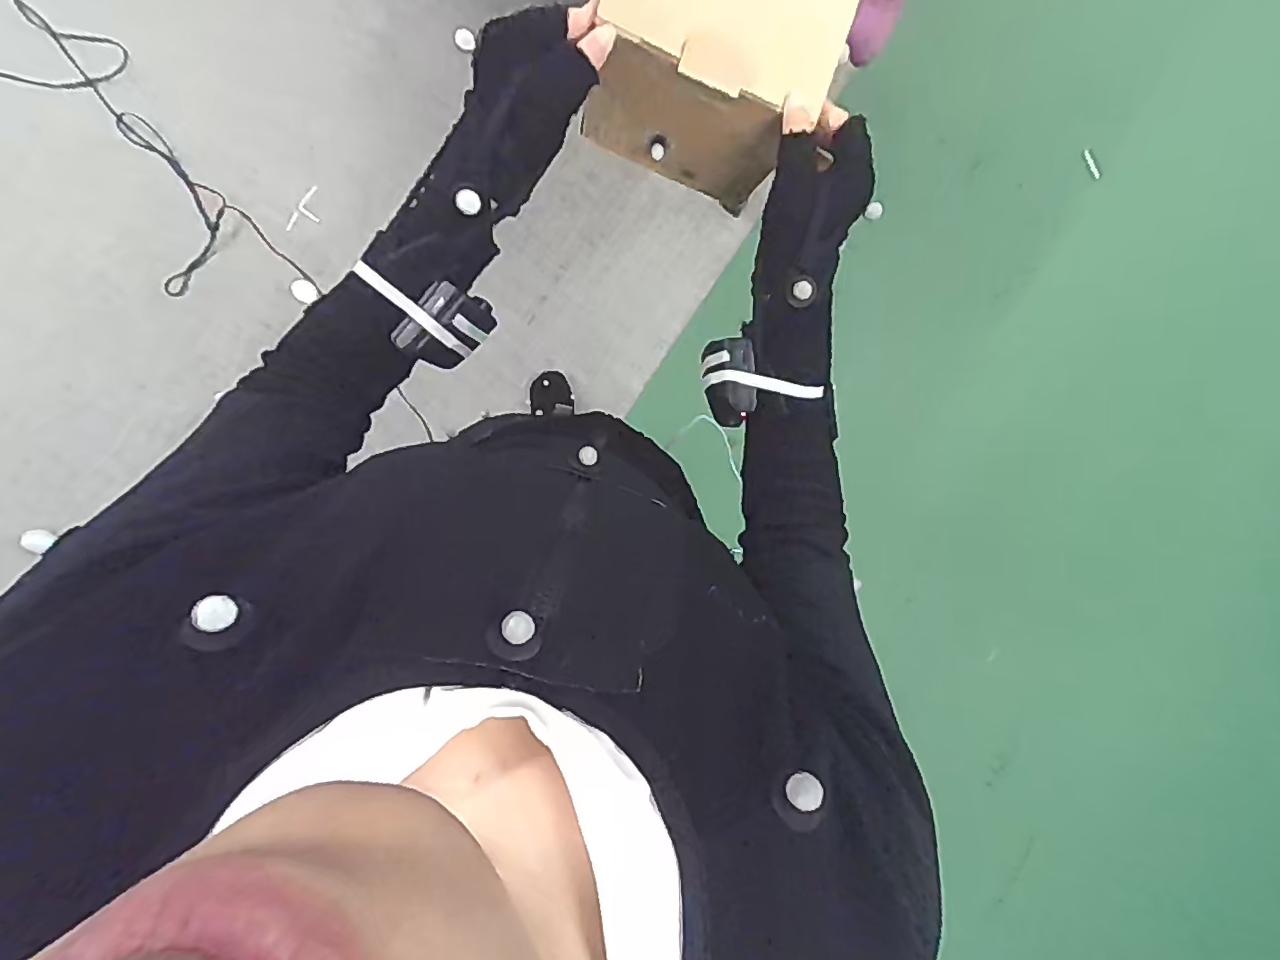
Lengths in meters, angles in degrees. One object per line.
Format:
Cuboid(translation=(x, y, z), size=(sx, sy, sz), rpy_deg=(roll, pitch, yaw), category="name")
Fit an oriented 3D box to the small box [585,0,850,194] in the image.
Cuboid(translation=(0.058, -0.374, 0.439), size=(0.168, 0.176, 0.179), rpy_deg=(18, 96, -11), category="small box")
